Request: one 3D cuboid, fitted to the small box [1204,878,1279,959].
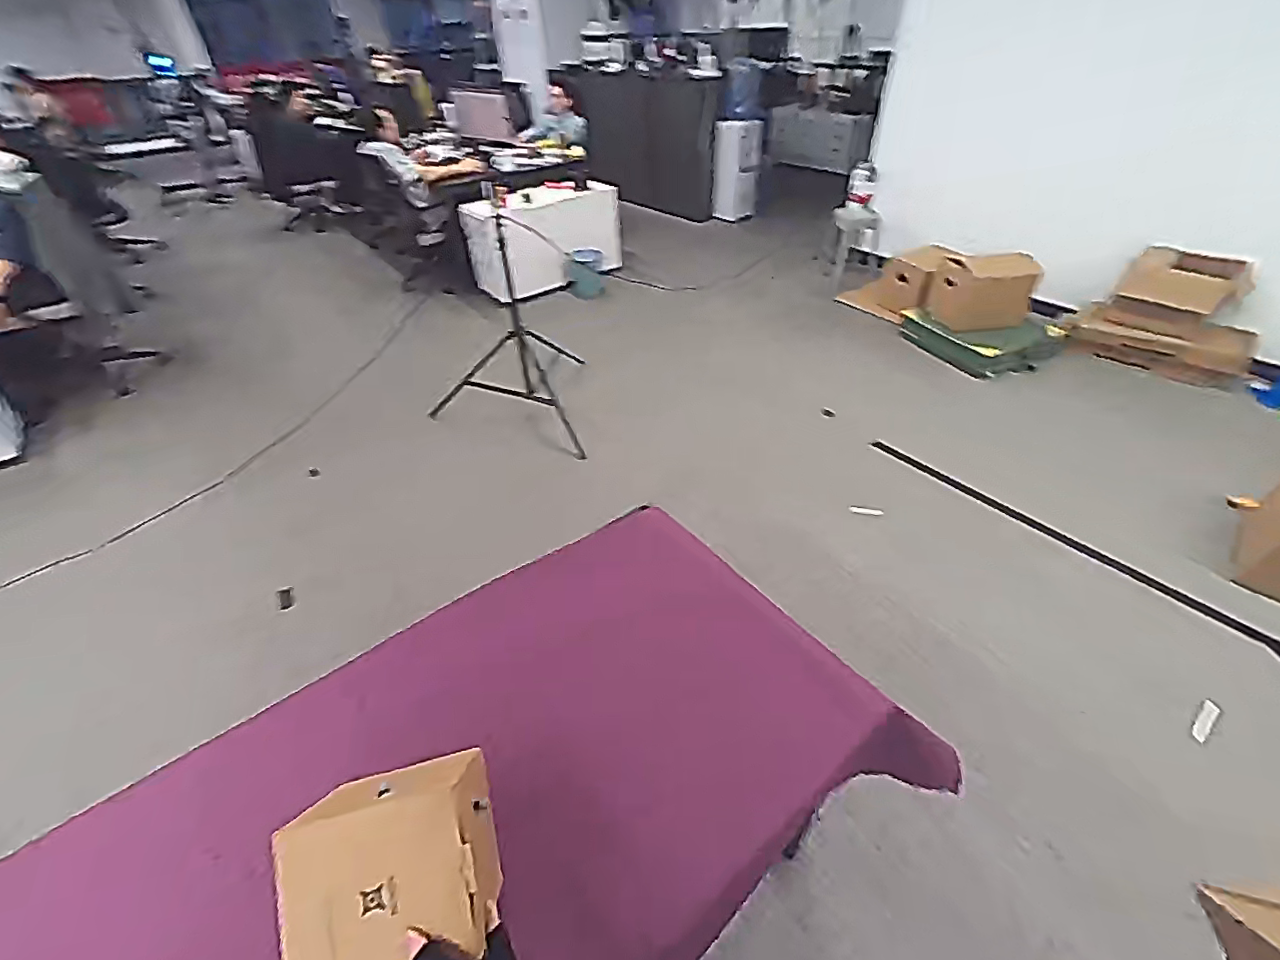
[{"bbox_3d":[0.399,0.277,0.219,0.168,0.179,0.176,-20,66,20],"label":"small box"}]

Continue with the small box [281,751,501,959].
[{"bbox_3d":[-0.260,0.426,0.606,0.179,0.176,0.168,-14,76,-9],"label":"small box"}]
